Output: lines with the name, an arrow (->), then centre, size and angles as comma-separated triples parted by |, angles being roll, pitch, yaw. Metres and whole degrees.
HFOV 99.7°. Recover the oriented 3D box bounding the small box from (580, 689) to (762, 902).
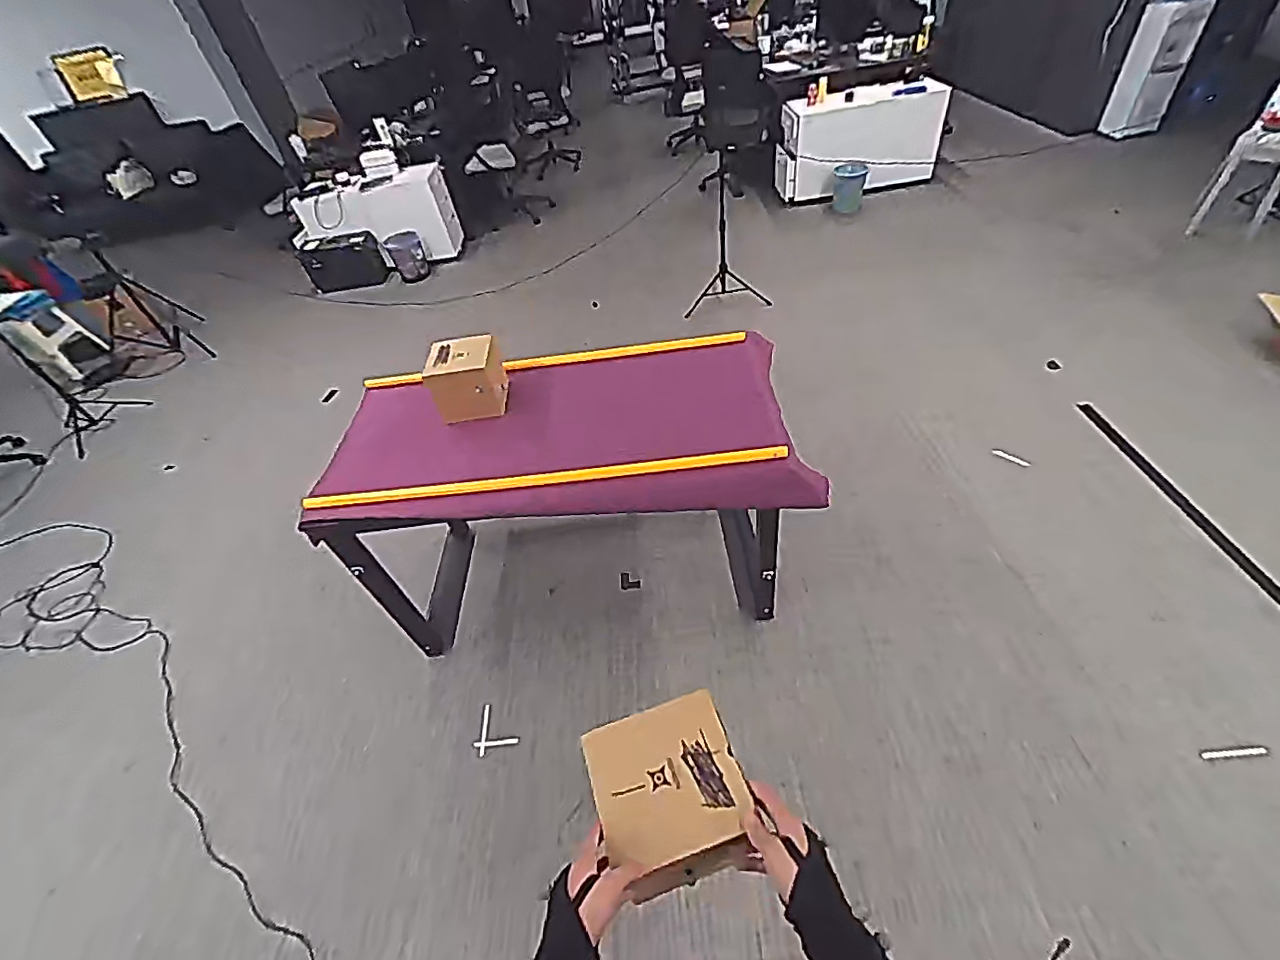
small box -> 0.039, 0.400, 0.685 | 0.179, 0.176, 0.168 | -19, 46, -6
